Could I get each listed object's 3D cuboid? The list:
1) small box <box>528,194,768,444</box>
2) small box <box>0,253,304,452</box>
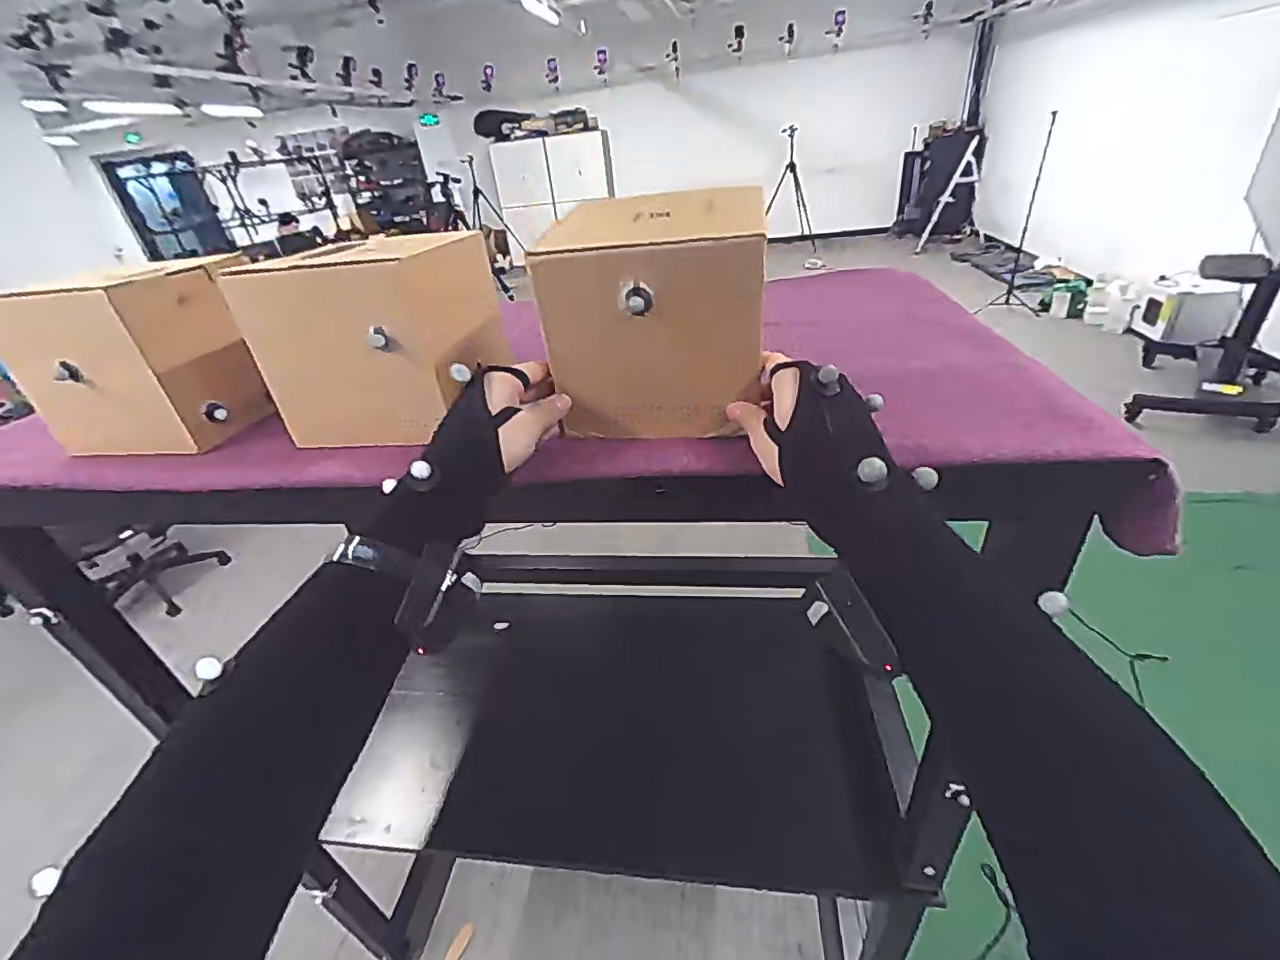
[{"bbox_3d":[0.024,-0.144,0.489,0.179,0.176,0.168,1,38,12],"label":"small box"},{"bbox_3d":[-0.520,-0.139,0.593,0.179,0.176,0.168,-1,32,11],"label":"small box"}]
